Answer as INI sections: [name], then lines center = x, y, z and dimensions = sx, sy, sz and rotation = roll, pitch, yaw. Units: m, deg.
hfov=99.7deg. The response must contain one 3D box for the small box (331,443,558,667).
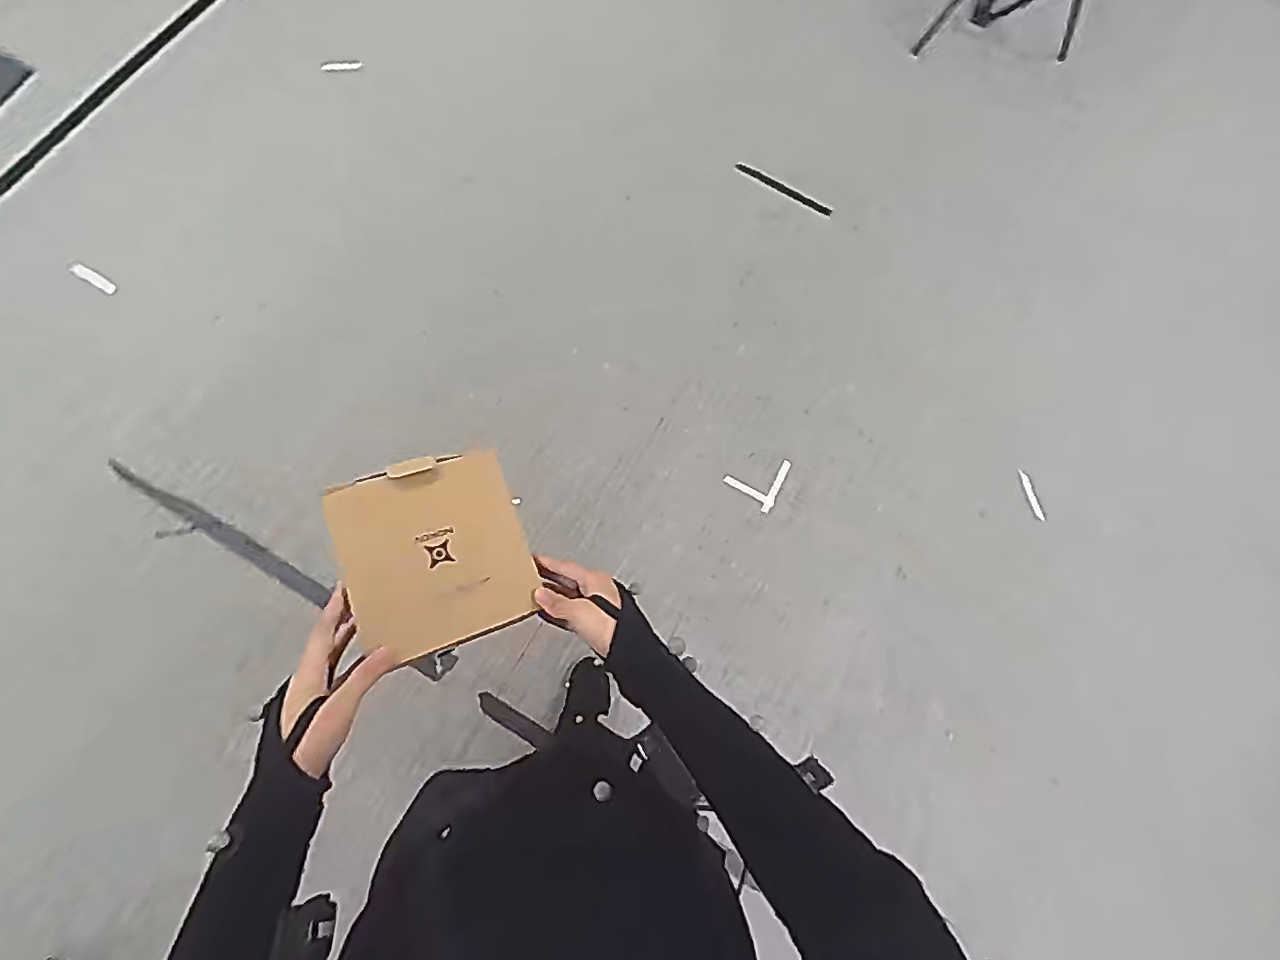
[small box]
center = -0.206, 0.084, 0.568
dimensions = 0.168, 0.176, 0.179
rotation = -16, 79, -25
